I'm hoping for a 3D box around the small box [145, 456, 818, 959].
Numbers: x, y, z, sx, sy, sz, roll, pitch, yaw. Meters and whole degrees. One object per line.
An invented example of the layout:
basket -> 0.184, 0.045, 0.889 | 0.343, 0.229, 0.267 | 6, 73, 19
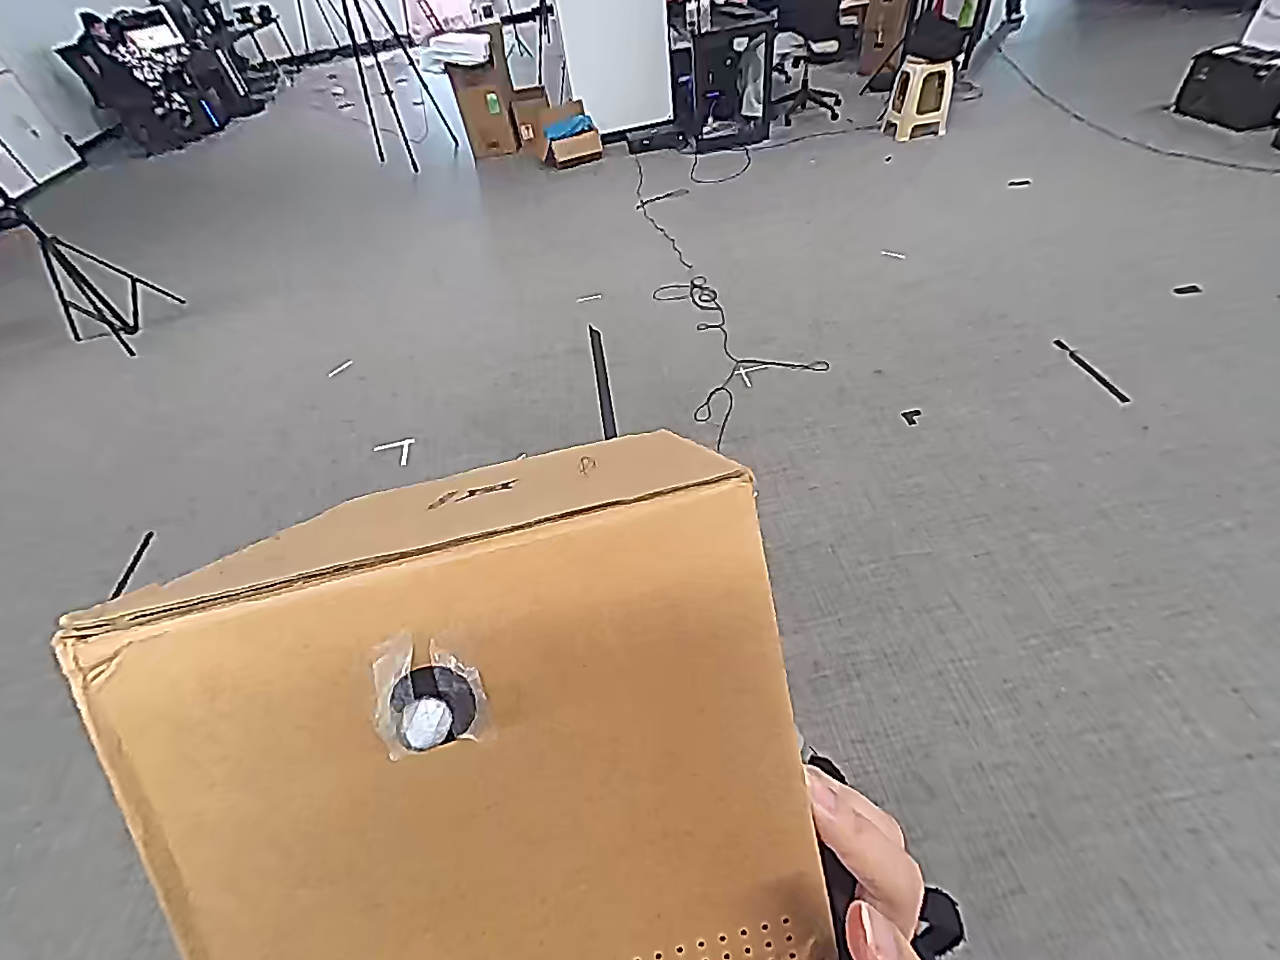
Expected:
small box -> -0.043, 0.096, 0.242 | 0.179, 0.176, 0.168 | -13, 10, -3
